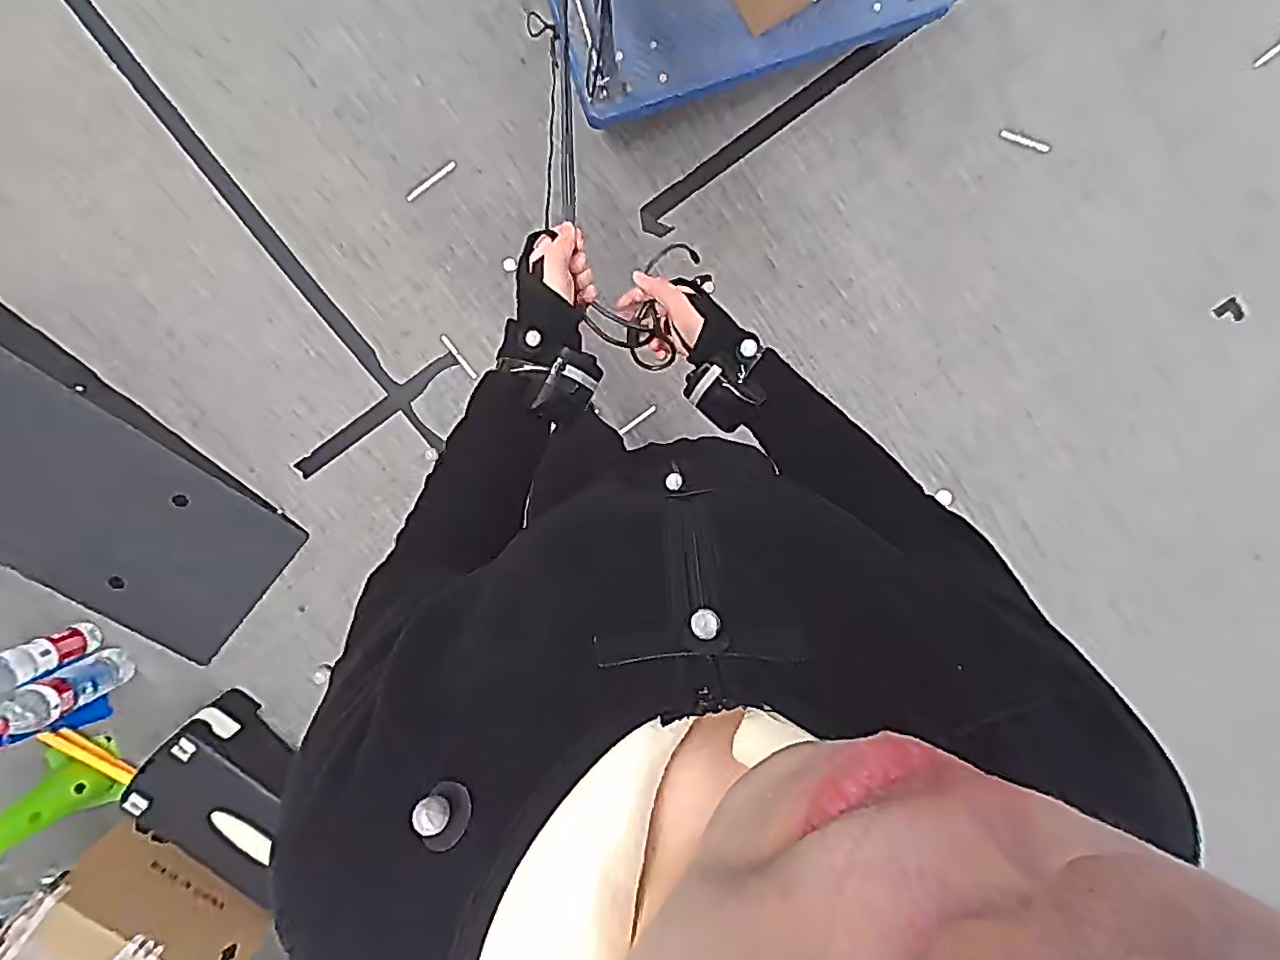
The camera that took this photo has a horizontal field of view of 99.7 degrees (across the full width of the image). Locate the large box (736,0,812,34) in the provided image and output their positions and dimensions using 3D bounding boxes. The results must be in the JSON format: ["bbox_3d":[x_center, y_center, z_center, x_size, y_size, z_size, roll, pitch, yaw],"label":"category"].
[{"bbox_3d":[0.284,-1.205,1.018,0.320,0.320,0.408,-32,98,2],"label":"large box"}]
